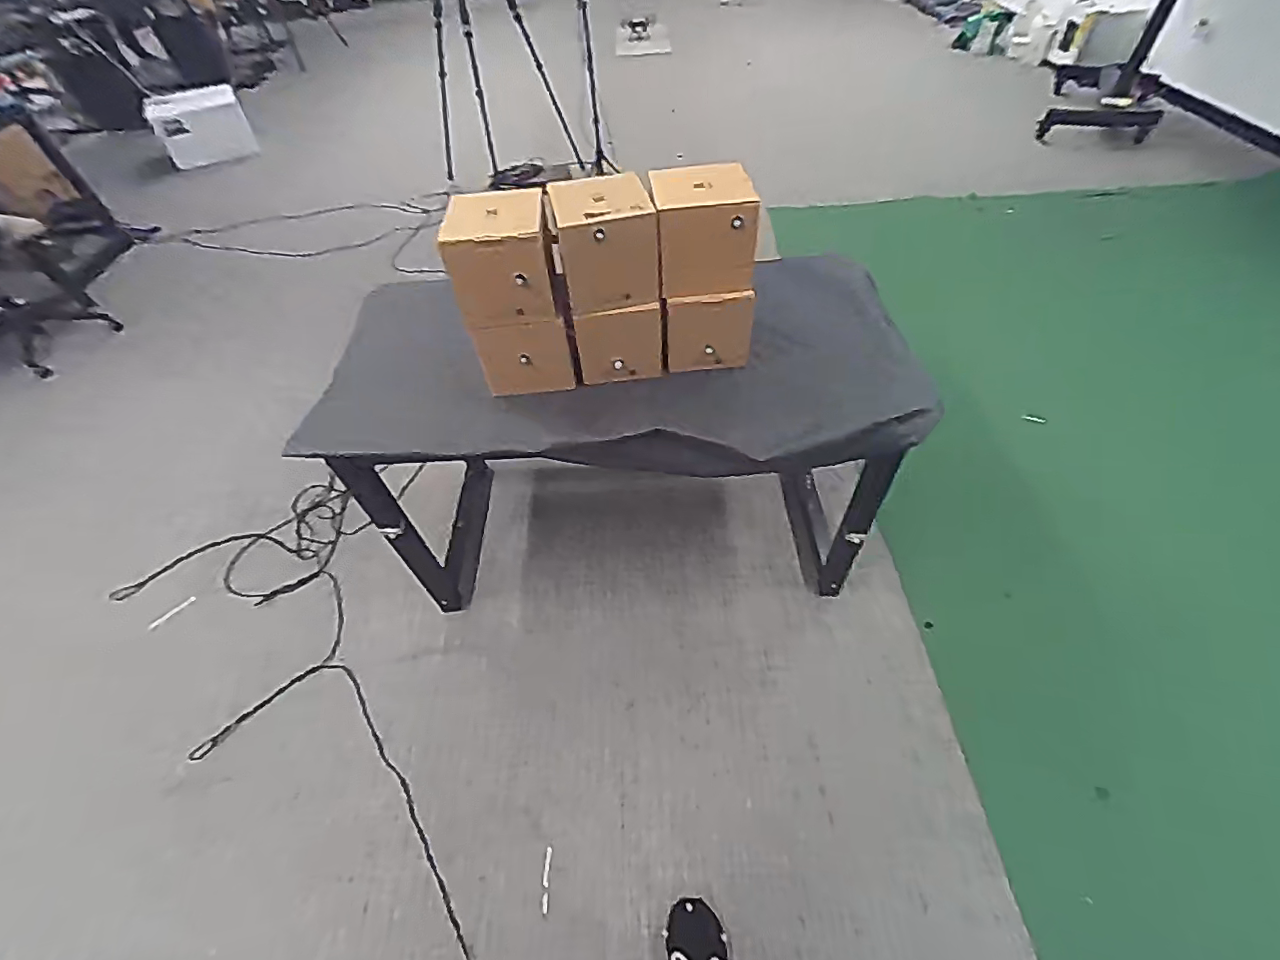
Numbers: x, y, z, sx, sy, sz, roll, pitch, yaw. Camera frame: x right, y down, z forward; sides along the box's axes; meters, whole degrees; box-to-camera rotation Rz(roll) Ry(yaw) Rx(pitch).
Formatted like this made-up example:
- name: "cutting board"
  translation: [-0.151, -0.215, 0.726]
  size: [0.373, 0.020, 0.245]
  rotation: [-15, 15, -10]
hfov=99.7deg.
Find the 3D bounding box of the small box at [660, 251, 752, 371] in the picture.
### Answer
- name: "small box"
  translation: [0.130, -0.349, 1.126]
  size: [0.168, 0.176, 0.179]
  rotation: [-6, 51, 1]
